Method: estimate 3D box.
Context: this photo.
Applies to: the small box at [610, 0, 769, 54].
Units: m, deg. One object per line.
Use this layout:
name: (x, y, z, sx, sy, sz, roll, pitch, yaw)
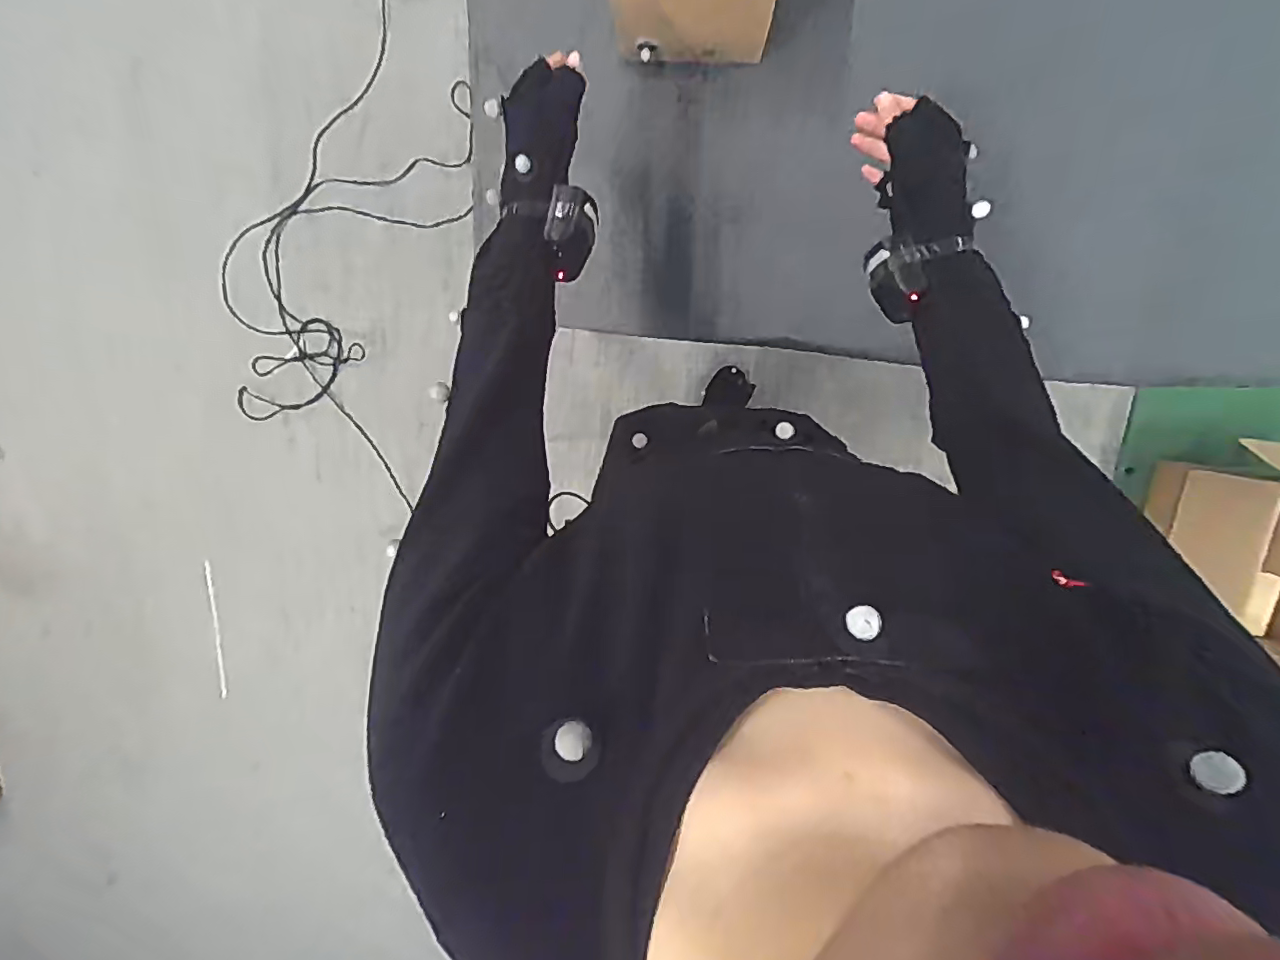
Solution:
small box: (0.055, -0.564, 0.538, 0.168, 0.176, 0.179, 4, 101, 3)
